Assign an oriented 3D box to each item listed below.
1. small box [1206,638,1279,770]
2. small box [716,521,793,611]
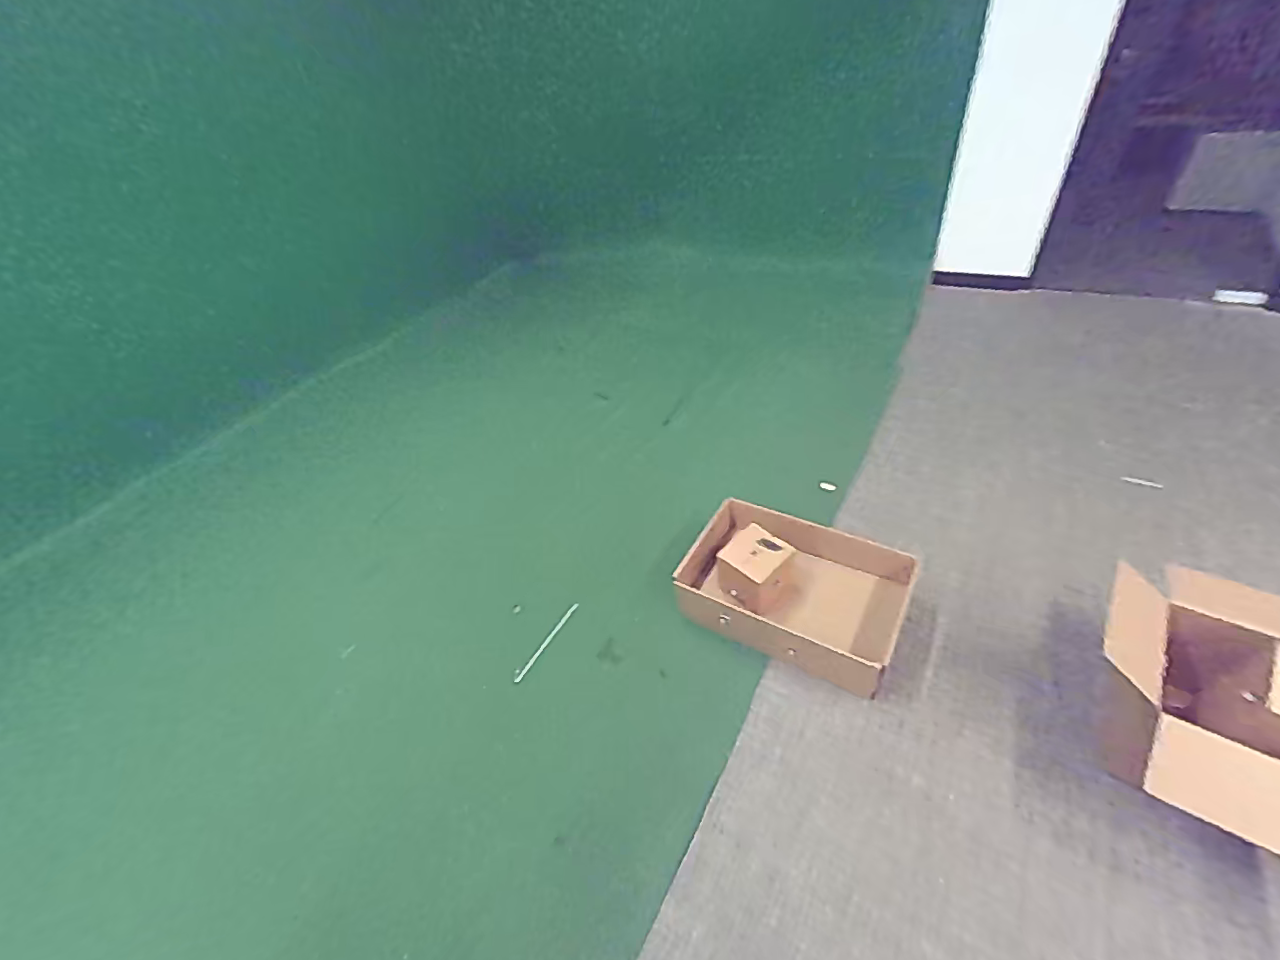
[{"bbox_3d":[1.289,0.460,1.076,0.168,0.176,0.179,29,55,31],"label":"small box"},{"bbox_3d":[0.351,0.266,1.678,0.179,0.176,0.168,-36,49,-26],"label":"small box"}]
